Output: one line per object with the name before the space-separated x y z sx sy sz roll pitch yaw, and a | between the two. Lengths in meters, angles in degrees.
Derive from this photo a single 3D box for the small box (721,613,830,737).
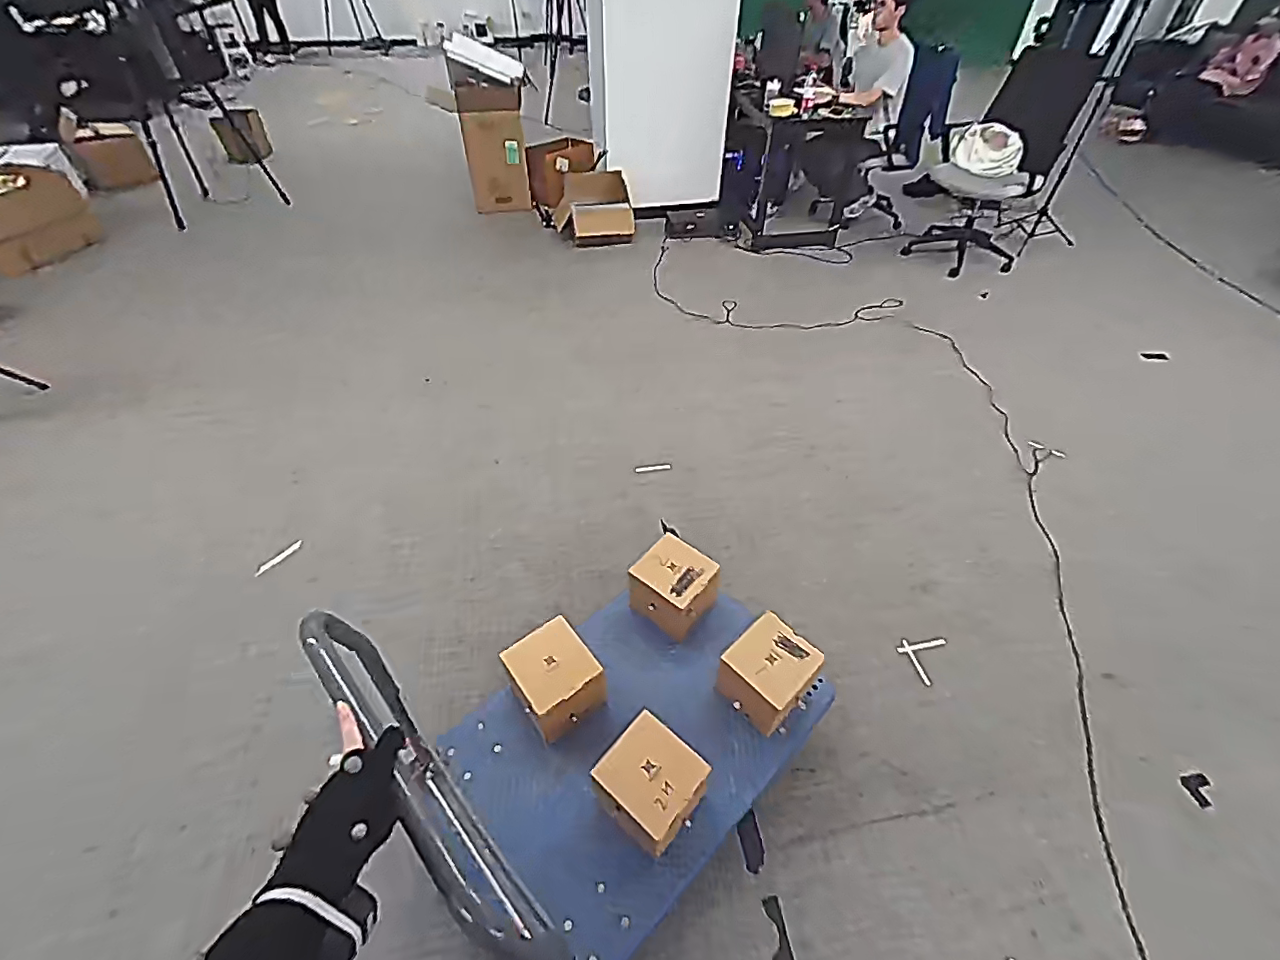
small box | 0.304 0.452 1.253 0.179 0.176 0.168 -34 55 -27

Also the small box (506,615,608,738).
small box | -0.188 0.455 1.248 0.168 0.176 0.179 -29 54 -26

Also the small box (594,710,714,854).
small box | 0.026 0.613 1.094 0.179 0.176 0.168 33 54 28
